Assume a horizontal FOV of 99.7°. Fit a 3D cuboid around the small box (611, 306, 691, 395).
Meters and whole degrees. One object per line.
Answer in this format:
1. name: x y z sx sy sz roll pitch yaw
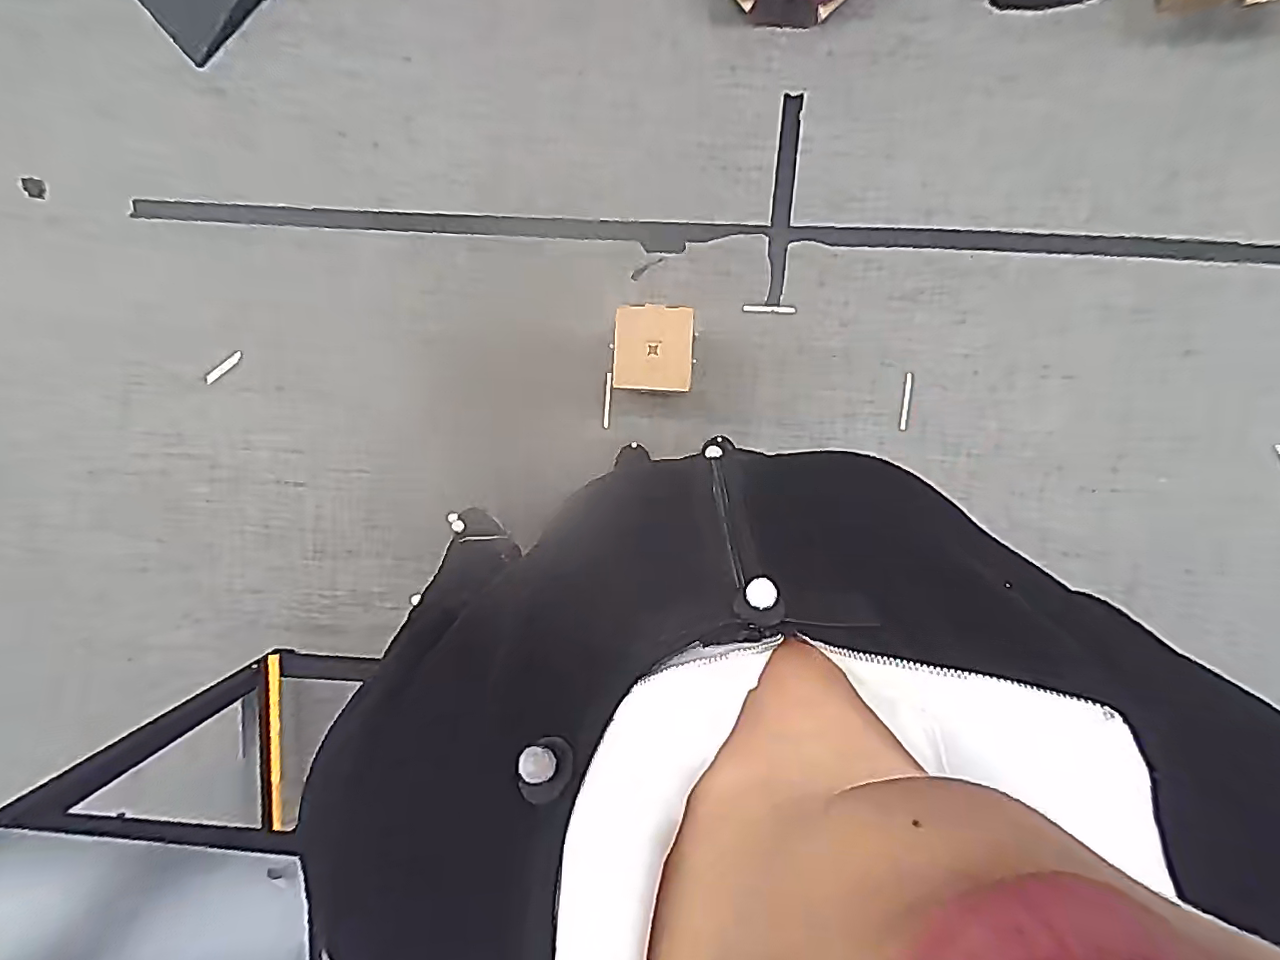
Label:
1. small box: 0.026 -0.286 1.226 0.168 0.176 0.179 3 98 4
